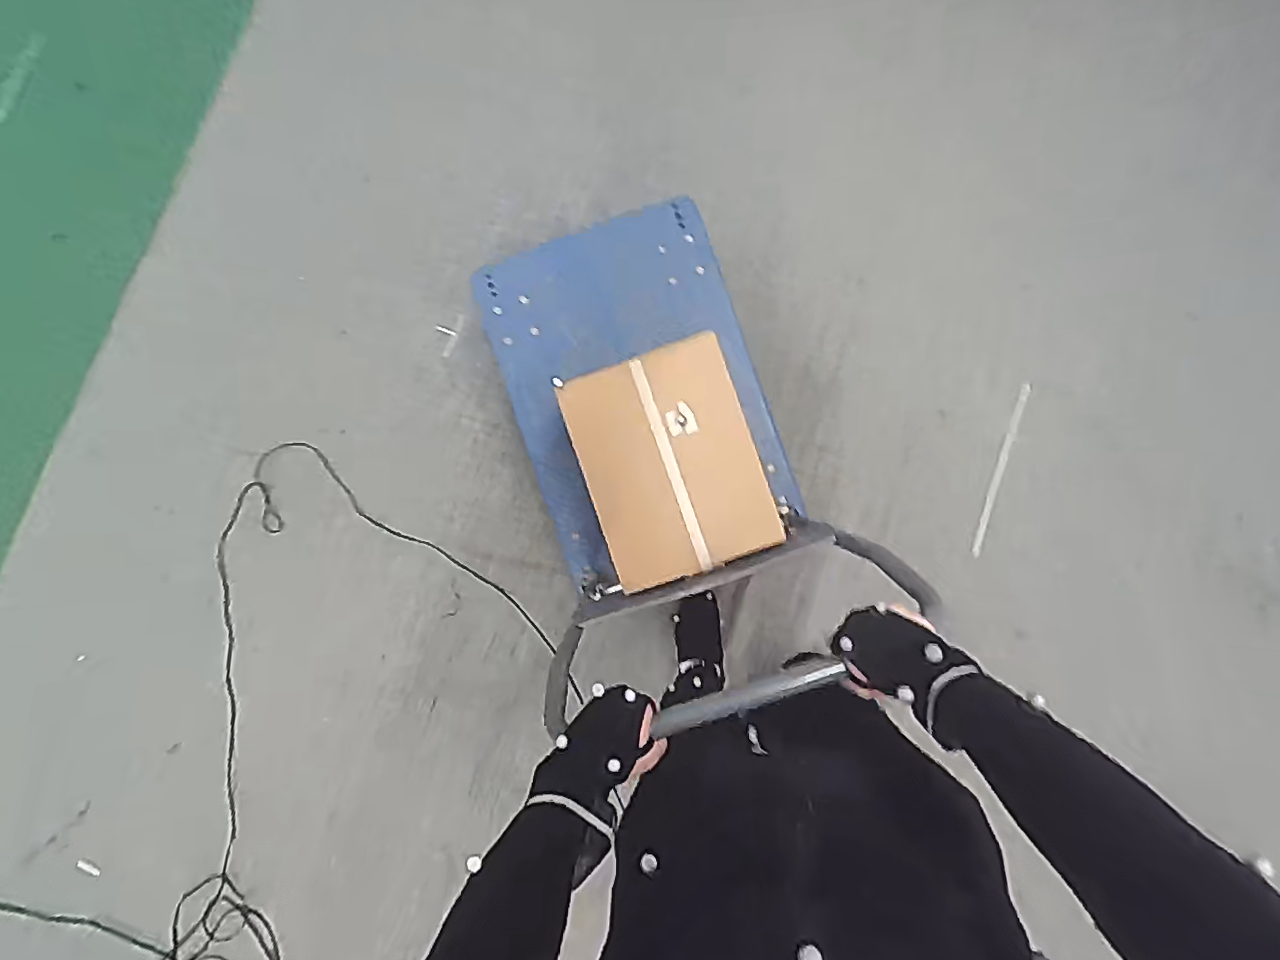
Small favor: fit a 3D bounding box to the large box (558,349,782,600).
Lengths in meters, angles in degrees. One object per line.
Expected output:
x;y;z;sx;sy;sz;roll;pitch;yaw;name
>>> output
0.063;-0.005;1.154;0.320;0.320;0.408;-19;87;2;large box
